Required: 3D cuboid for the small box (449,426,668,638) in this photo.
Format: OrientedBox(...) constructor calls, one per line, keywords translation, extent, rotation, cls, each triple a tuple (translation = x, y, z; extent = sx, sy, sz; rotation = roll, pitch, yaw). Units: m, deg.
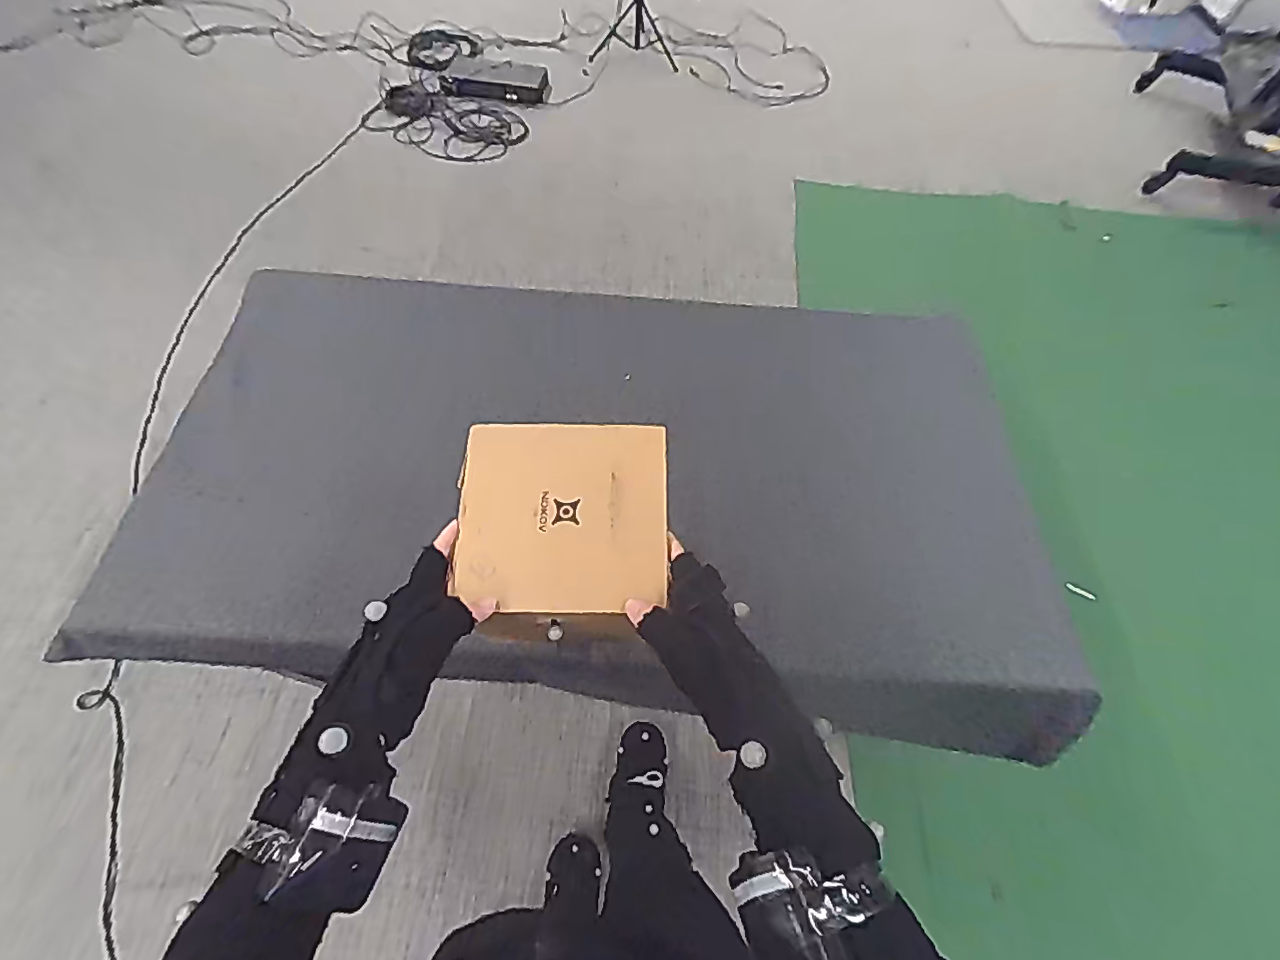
OrientedBox(translation=(-0.065, 0.060, 0.528), extent=(0.179, 0.176, 0.168), rotation=(0, 66, -2), cls="small box")
